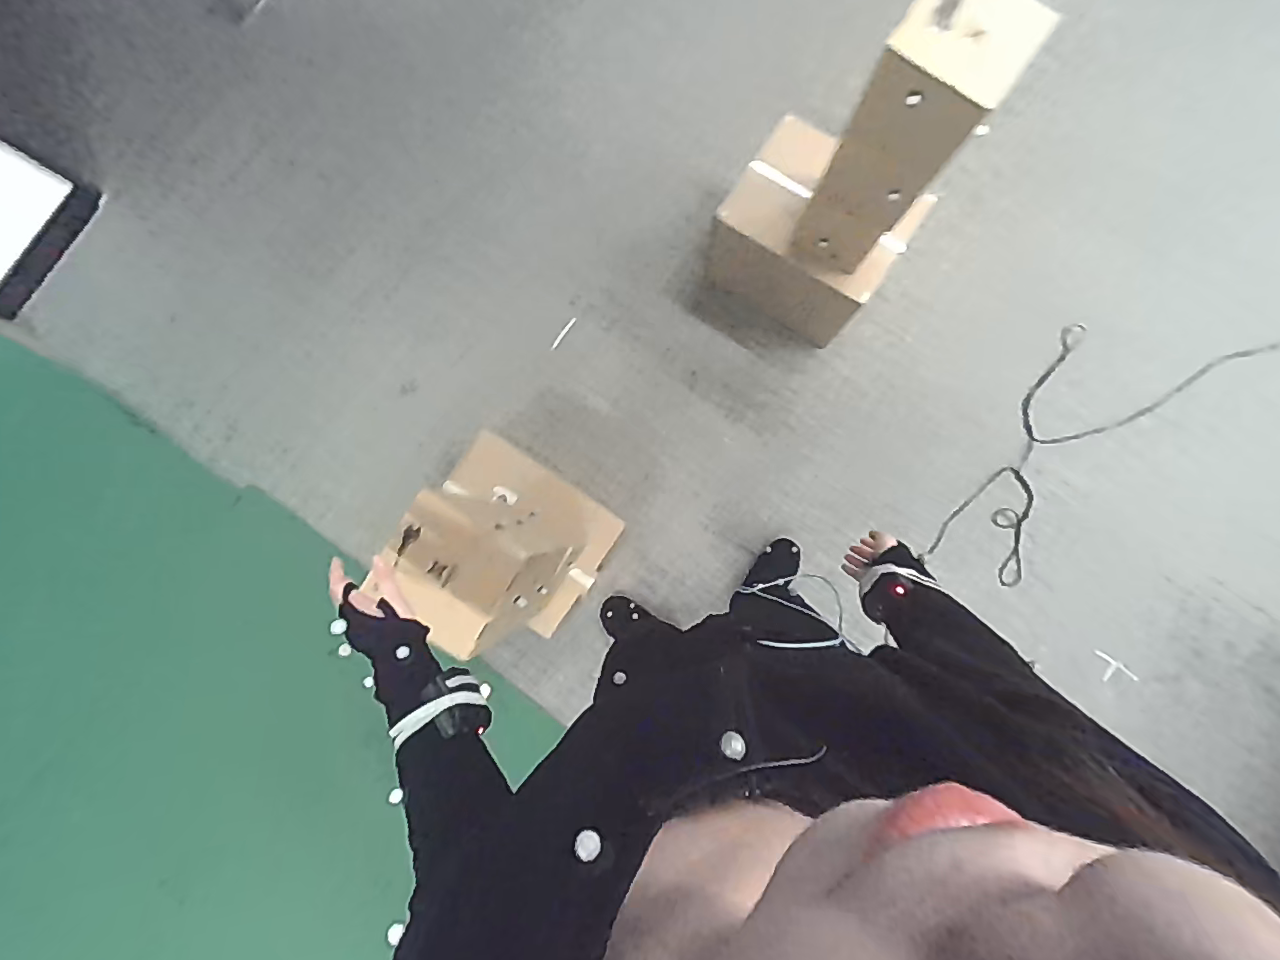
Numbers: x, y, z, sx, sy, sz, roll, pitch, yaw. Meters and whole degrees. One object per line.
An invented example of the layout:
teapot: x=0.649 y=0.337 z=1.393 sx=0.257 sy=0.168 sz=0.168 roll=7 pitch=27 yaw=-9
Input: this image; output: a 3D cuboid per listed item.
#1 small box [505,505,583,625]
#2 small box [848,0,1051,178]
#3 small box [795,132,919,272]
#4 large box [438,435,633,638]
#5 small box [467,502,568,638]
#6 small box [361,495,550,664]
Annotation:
small box: x=-0.234 y=0.169 z=1.121 sx=0.168 sy=0.176 sz=0.179 roll=32 pitch=88 yaw=6
small box: x=0.456 y=-0.612 z=0.830 sx=0.179 sy=0.176 sz=0.168 roll=35 pitch=88 yaw=3
small box: x=0.457 y=-0.588 z=1.158 sx=0.168 sy=0.176 sz=0.179 roll=32 pitch=88 yaw=4
large box: x=-0.271 y=0.137 z=1.371 sx=0.408 sy=0.320 sz=0.320 roll=33 pitch=87 yaw=6
small box: x=-0.247 y=0.151 z=0.959 sx=0.179 sy=0.176 sz=0.168 roll=29 pitch=86 yaw=6
small box: x=-0.254 y=0.136 z=0.795 sx=0.179 sy=0.176 sz=0.168 roll=30 pitch=87 yaw=5
